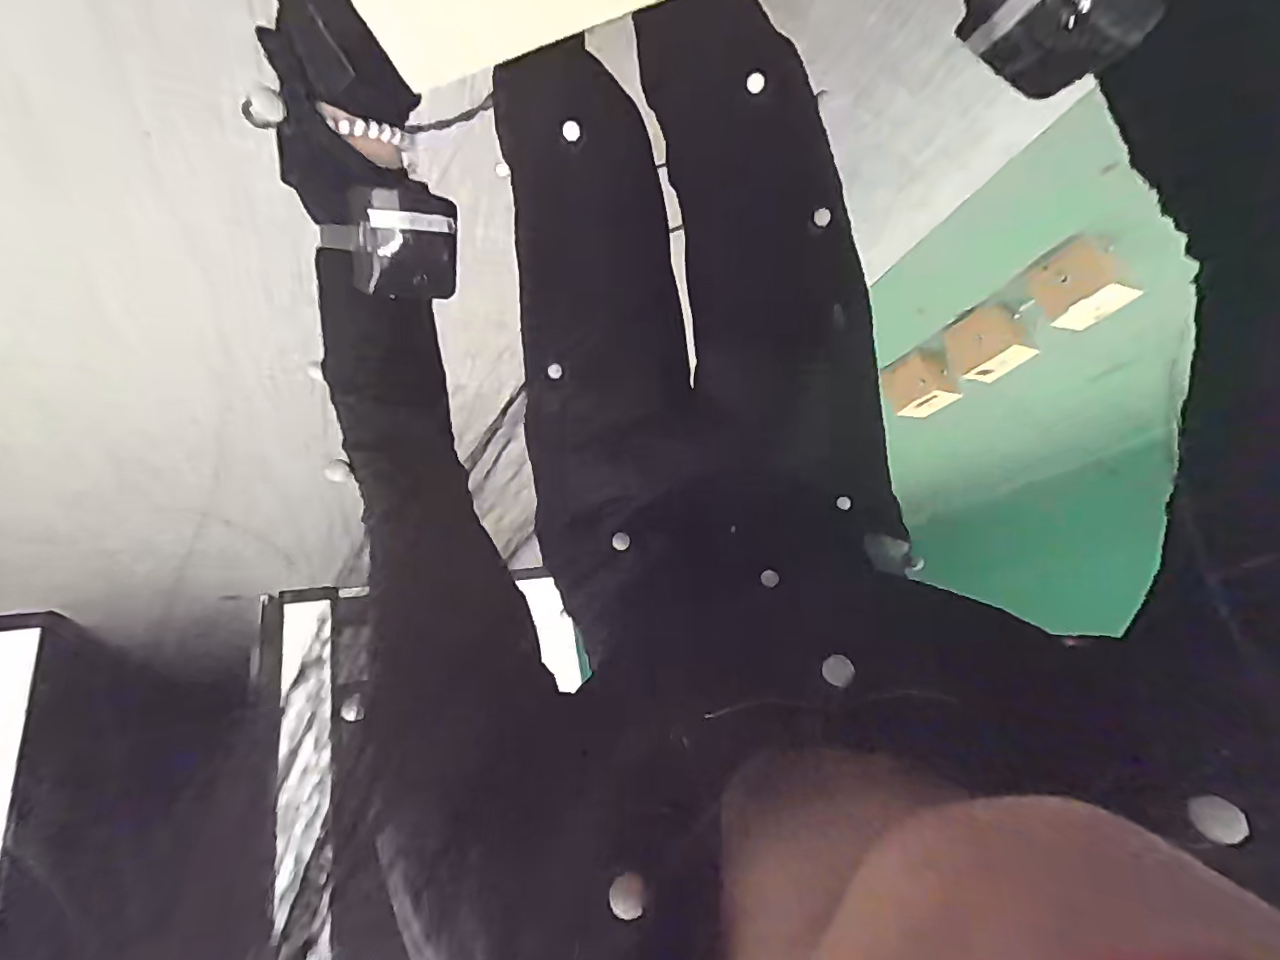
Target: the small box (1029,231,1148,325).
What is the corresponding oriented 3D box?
[{"bbox_3d":[1.228,-0.556,1.493,0.179,0.176,0.168,0,157,-26],"label":"small box"}]
